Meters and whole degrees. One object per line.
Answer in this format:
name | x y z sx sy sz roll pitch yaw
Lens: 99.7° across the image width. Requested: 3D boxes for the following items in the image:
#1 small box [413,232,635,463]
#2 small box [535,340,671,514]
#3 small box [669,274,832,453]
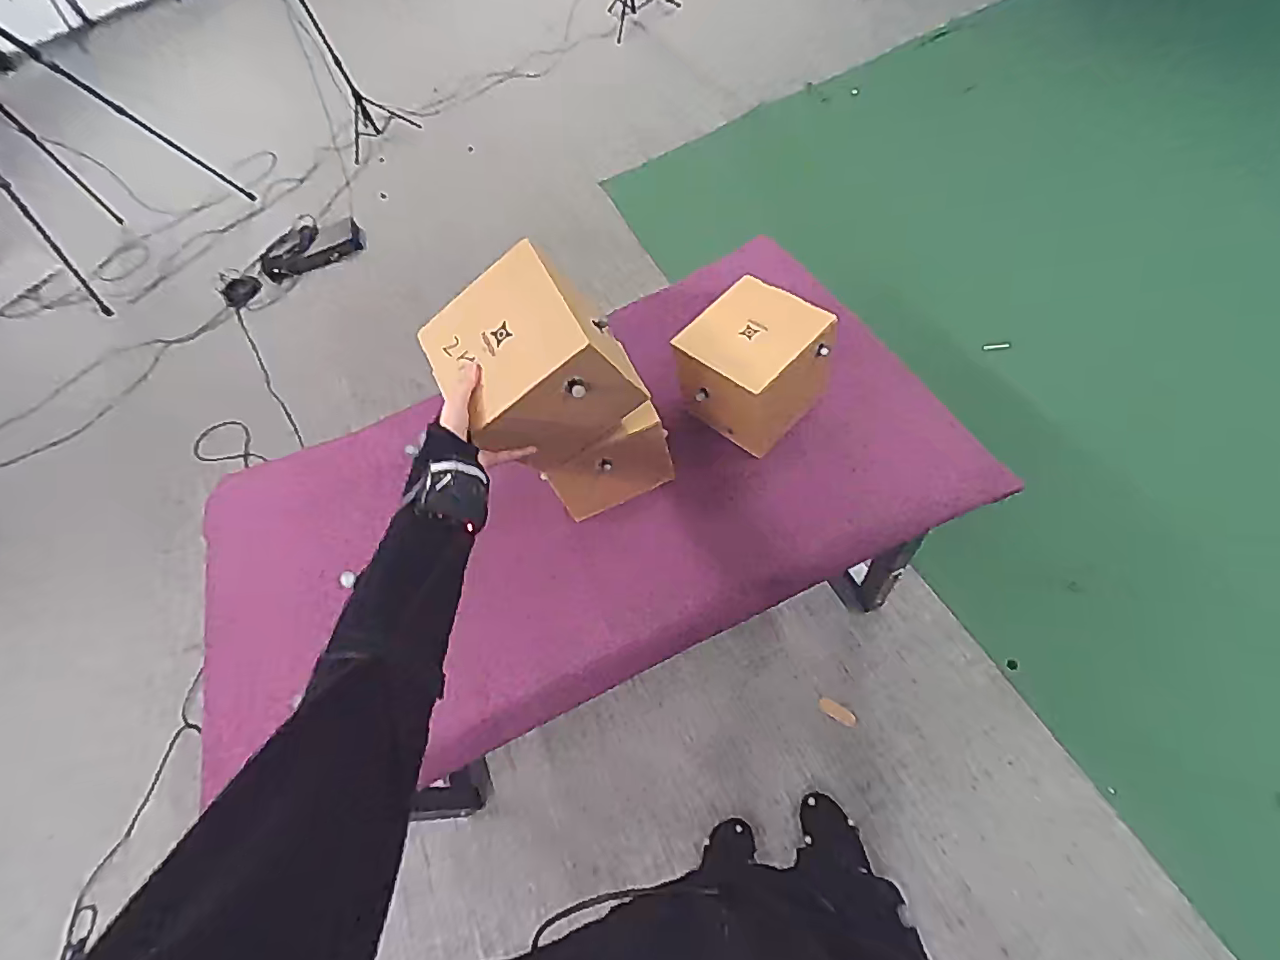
small box | -0.126 -0.143 0.648 0.179 0.176 0.168 -35 68 14
small box | -0.068 -0.073 0.826 0.179 0.176 0.168 -23 59 -2
small box | 0.171 -0.174 0.835 0.179 0.176 0.168 -43 60 -15
